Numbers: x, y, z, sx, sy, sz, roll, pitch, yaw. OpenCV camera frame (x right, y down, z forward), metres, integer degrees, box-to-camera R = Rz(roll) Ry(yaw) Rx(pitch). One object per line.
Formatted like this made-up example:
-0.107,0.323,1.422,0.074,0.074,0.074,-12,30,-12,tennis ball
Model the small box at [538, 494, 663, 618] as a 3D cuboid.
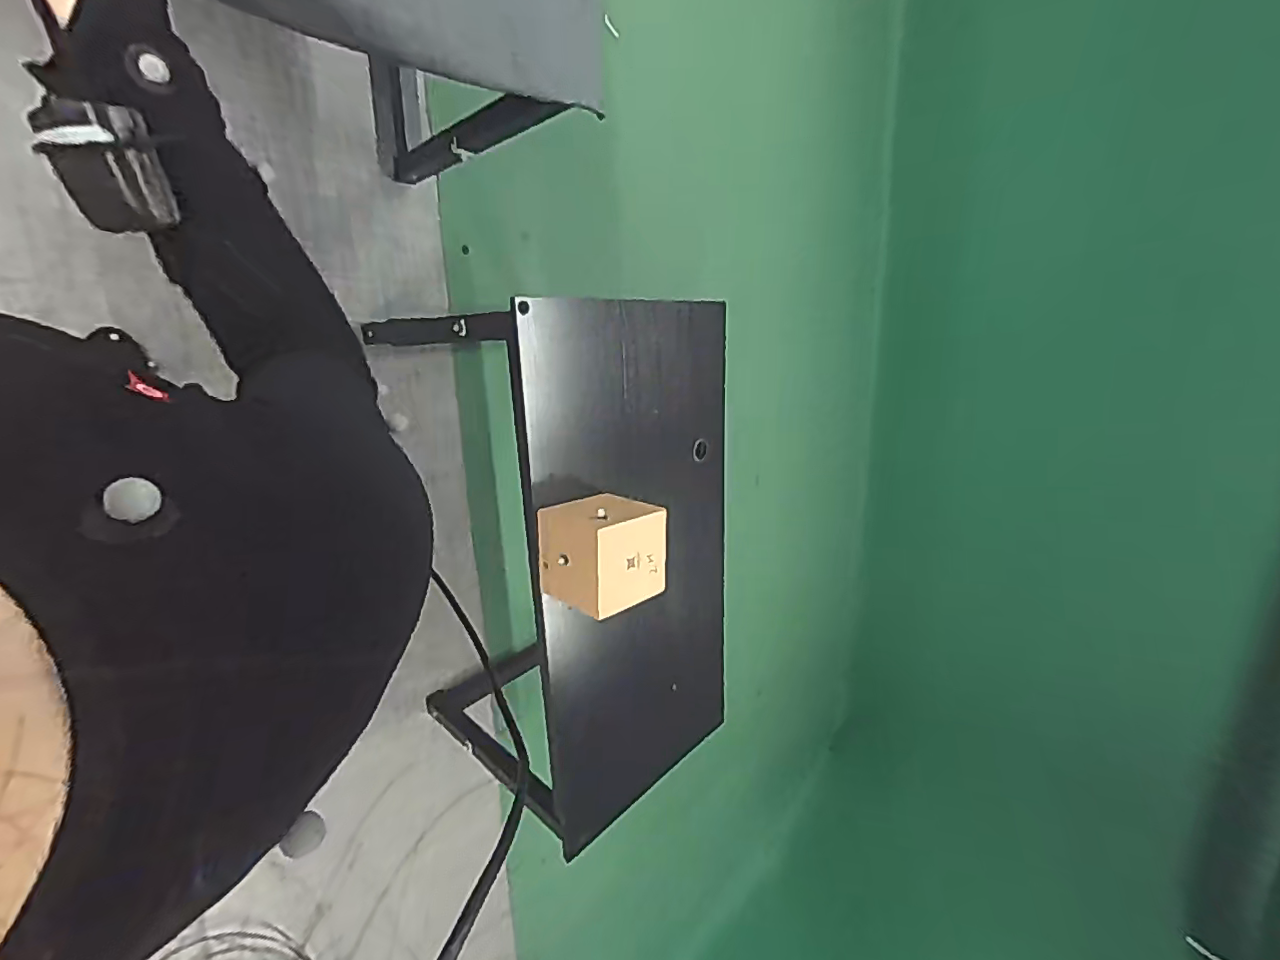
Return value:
-0.077,0.130,1.010,0.179,0.176,0.168,-12,109,-45,small box
